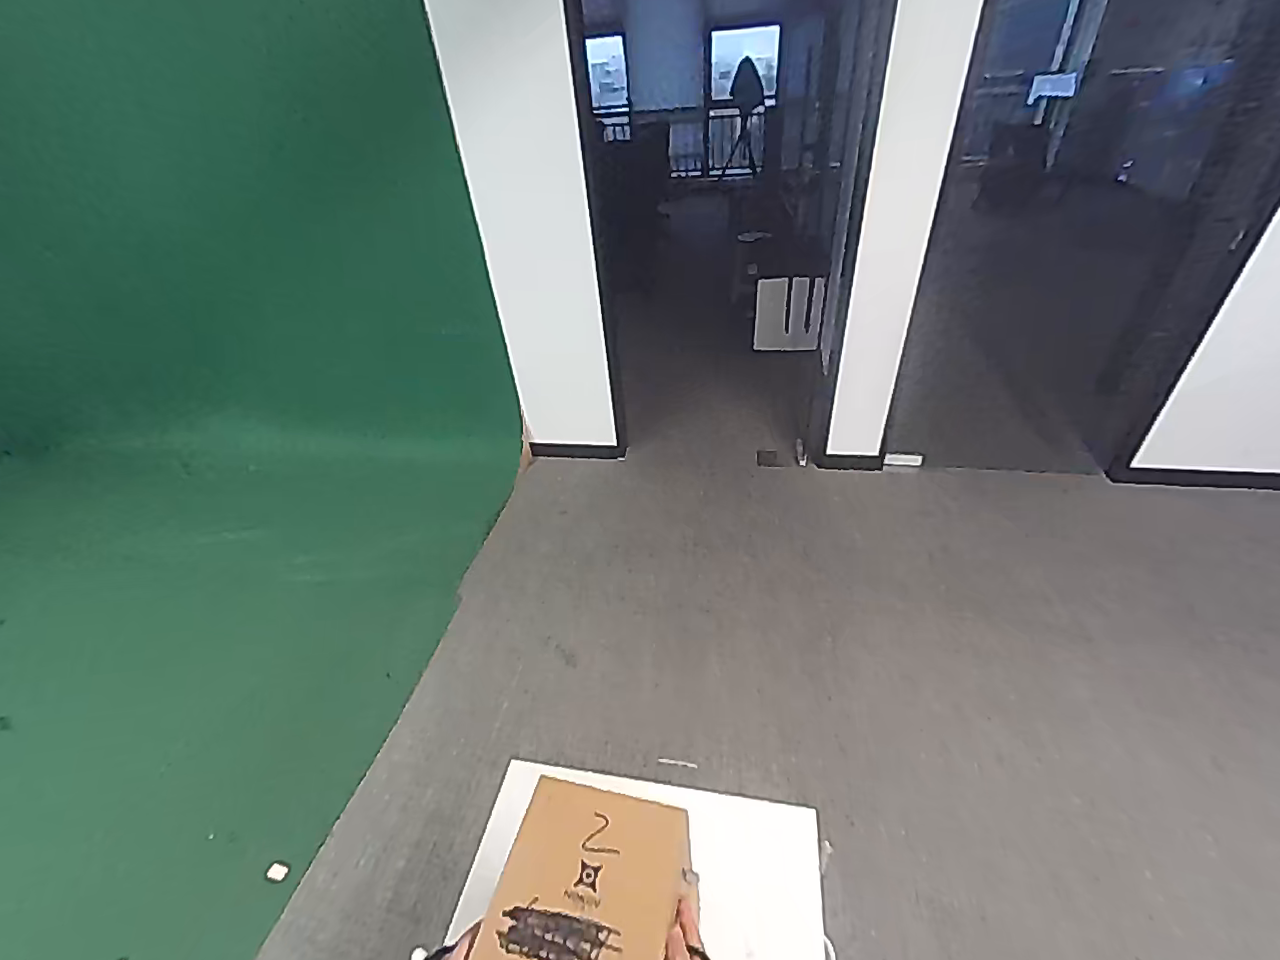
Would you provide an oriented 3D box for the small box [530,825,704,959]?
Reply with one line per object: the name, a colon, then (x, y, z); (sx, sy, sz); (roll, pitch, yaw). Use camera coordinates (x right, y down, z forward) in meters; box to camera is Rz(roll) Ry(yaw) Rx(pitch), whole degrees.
small box: (-0.022, 0.565, 0.652); (0.168, 0.176, 0.179); (7, 38, 16)
